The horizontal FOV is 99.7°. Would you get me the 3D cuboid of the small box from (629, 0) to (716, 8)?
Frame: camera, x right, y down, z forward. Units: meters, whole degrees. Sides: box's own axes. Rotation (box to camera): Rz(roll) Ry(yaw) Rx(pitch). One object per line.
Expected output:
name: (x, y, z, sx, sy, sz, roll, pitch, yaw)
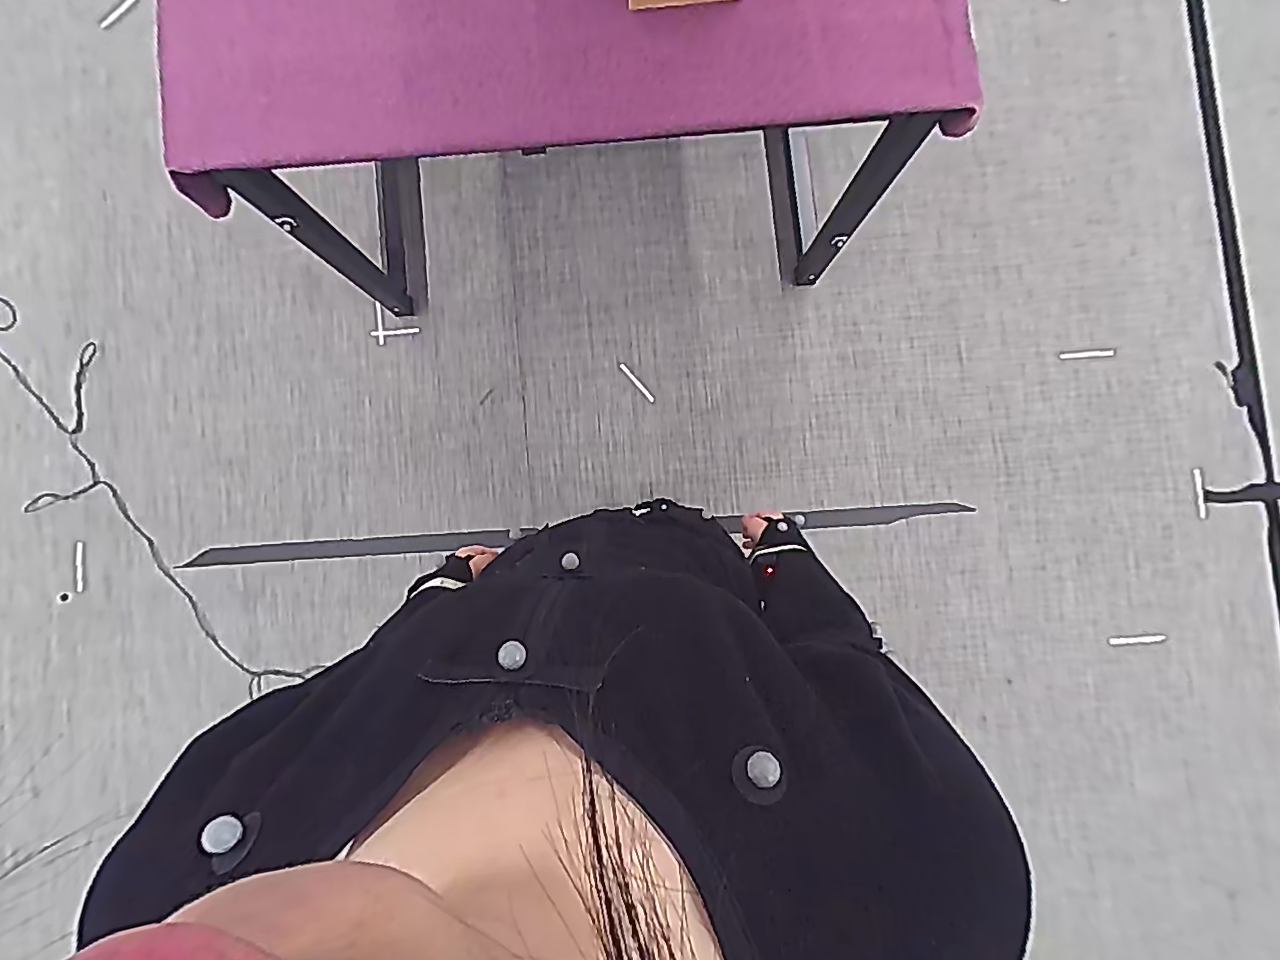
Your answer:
small box: (0.064, -0.797, 0.735, 0.179, 0.176, 0.168, -6, 86, 0)
